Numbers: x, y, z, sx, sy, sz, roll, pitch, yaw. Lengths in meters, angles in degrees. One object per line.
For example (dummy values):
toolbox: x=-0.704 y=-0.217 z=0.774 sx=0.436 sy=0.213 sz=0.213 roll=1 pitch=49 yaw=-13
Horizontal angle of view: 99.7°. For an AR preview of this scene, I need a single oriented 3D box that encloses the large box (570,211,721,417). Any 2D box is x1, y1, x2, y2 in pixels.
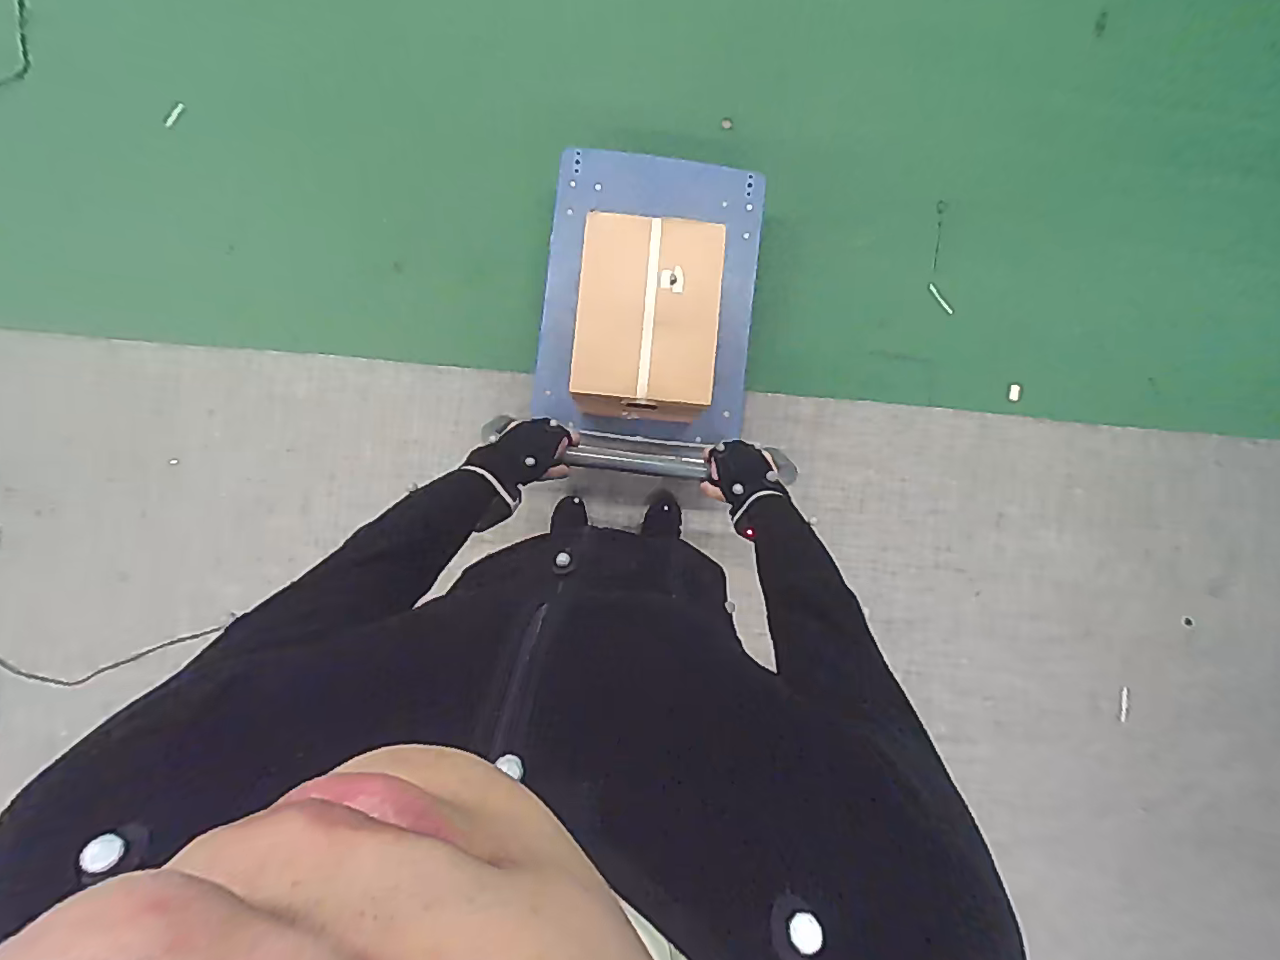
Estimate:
large box: x=0.012 y=-0.380 z=1.340 sx=0.320 sy=0.320 sz=0.408 roll=5 pitch=89 yaw=-2
